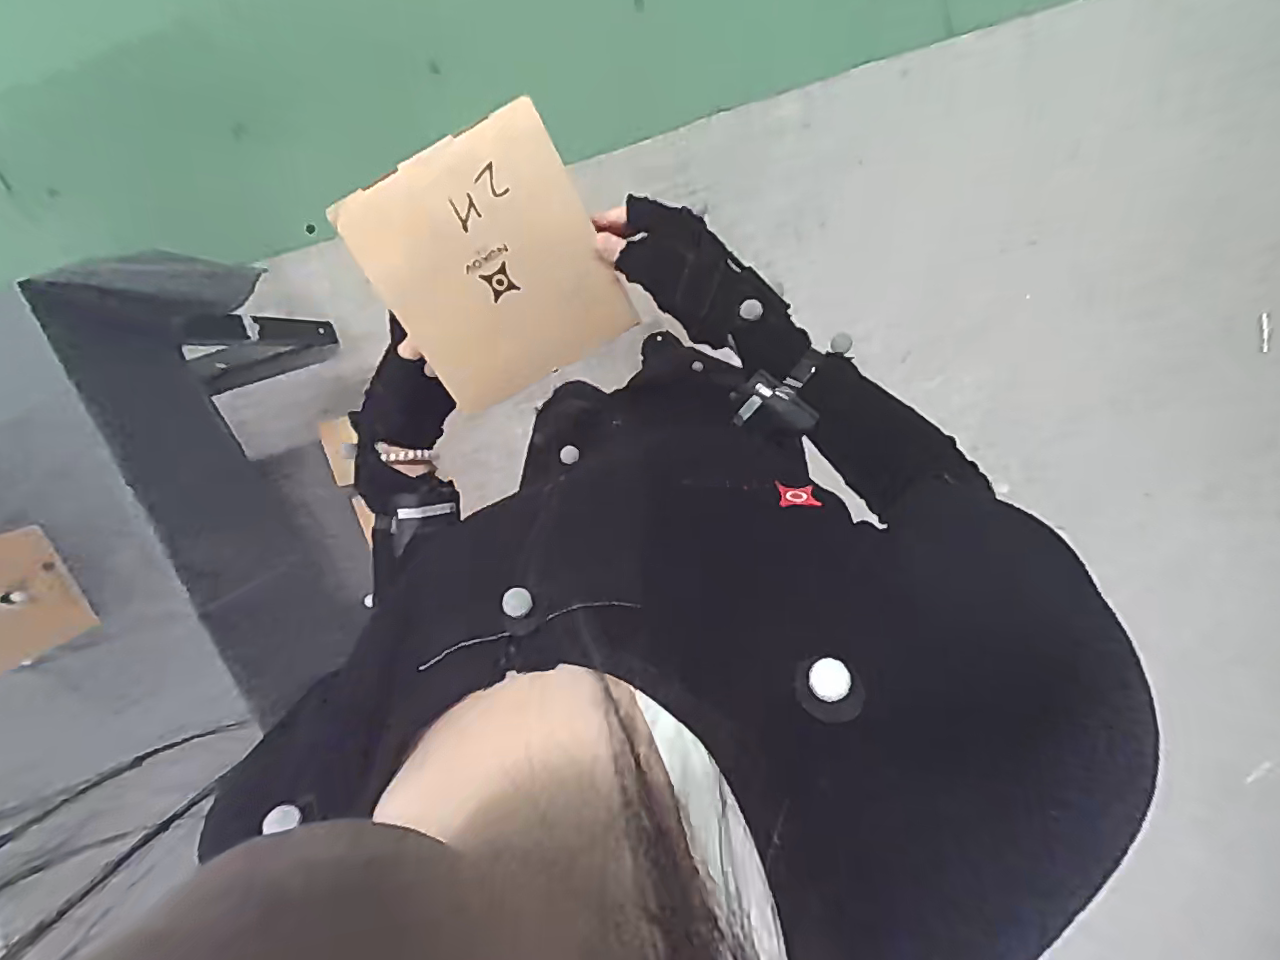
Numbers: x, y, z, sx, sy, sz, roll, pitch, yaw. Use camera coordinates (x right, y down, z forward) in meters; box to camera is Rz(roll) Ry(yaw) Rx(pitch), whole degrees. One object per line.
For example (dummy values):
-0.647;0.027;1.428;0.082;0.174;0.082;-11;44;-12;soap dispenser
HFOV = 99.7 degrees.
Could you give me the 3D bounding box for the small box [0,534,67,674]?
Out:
-0.898;0.185;0.680;0.179;0.176;0.168;-18;103;3;small box
